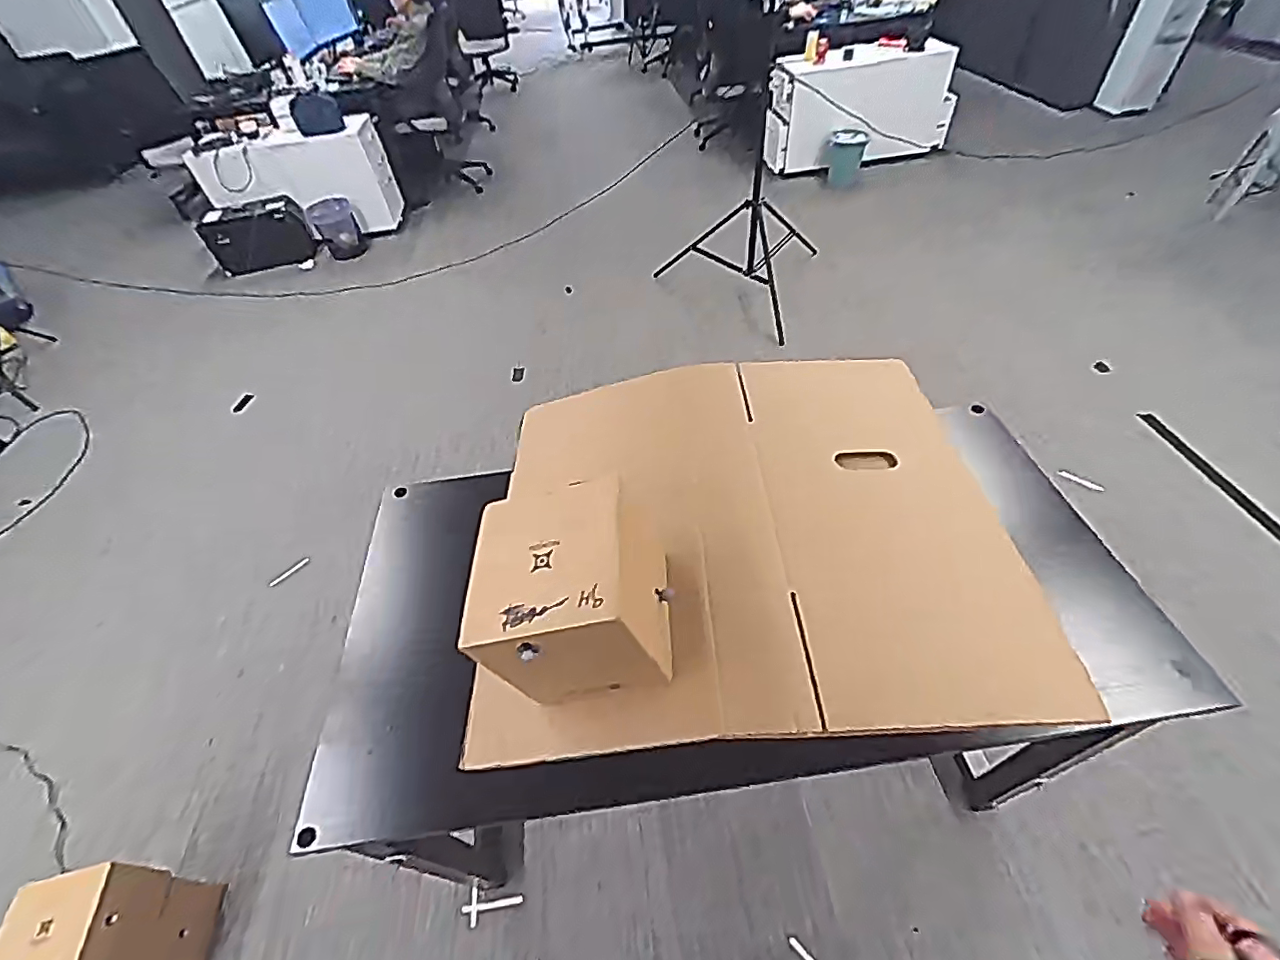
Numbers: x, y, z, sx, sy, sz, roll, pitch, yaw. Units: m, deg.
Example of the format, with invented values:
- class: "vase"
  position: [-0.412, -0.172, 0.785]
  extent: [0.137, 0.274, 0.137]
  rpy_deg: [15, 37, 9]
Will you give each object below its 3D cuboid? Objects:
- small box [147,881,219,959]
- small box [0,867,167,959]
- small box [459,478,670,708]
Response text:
- class: "small box"
  position: [-1.042, 0.980, 1.140]
  extent: [0.168, 0.176, 0.179]
  rpy_deg: [-11, 49, -4]
- class: "small box"
  position: [-1.057, 0.867, 1.023]
  extent: [0.168, 0.176, 0.179]
  rpy_deg: [-13, 47, -6]
- class: "small box"
  position: [-0.070, 0.129, 0.603]
  extent: [0.168, 0.176, 0.179]
  rpy_deg: [-14, 46, 13]
